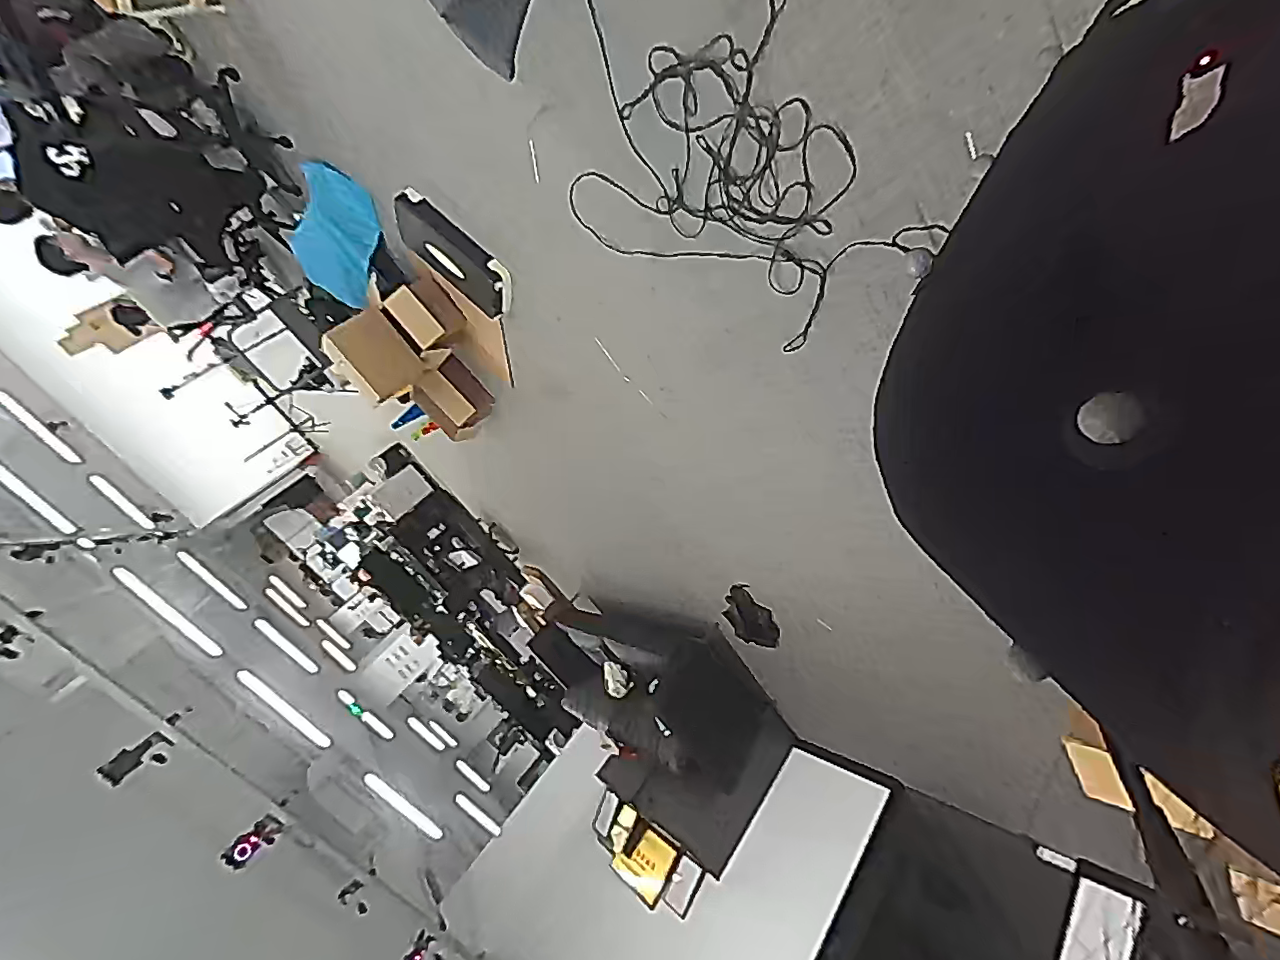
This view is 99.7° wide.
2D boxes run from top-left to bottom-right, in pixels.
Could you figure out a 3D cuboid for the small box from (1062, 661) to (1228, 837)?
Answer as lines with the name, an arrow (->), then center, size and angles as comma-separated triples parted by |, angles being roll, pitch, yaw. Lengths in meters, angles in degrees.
small box -> 0.858, 0.444, 0.917 | 0.168, 0.176, 0.179 | -3, 128, 56
